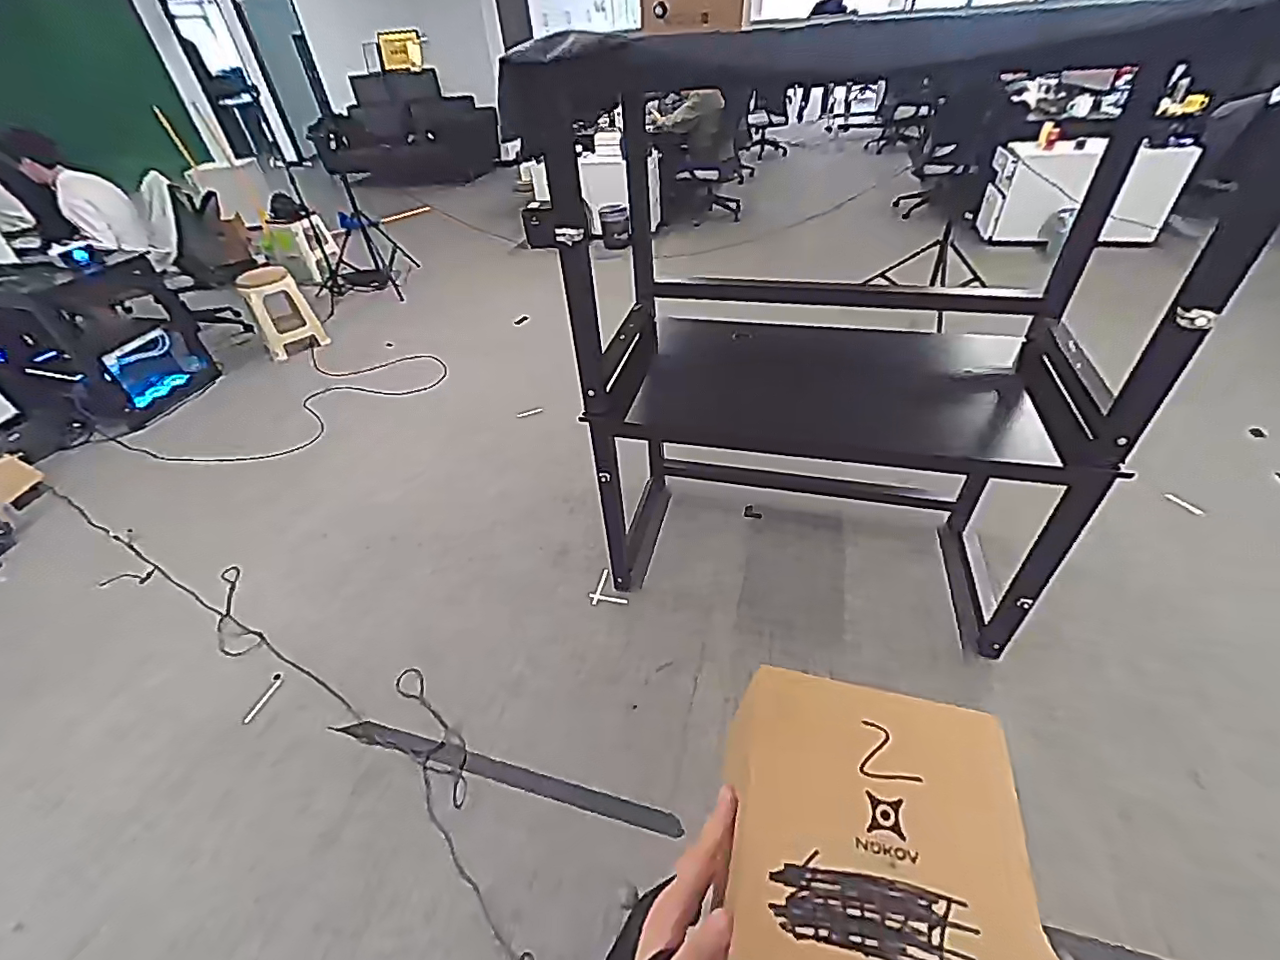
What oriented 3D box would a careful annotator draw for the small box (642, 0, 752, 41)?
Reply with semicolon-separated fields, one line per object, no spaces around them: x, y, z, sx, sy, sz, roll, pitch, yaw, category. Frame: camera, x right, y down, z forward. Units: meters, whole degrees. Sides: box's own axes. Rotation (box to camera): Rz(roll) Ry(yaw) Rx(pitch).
0.097;-0.827;0.875;0.168;0.176;0.179;7;40;11;small box
